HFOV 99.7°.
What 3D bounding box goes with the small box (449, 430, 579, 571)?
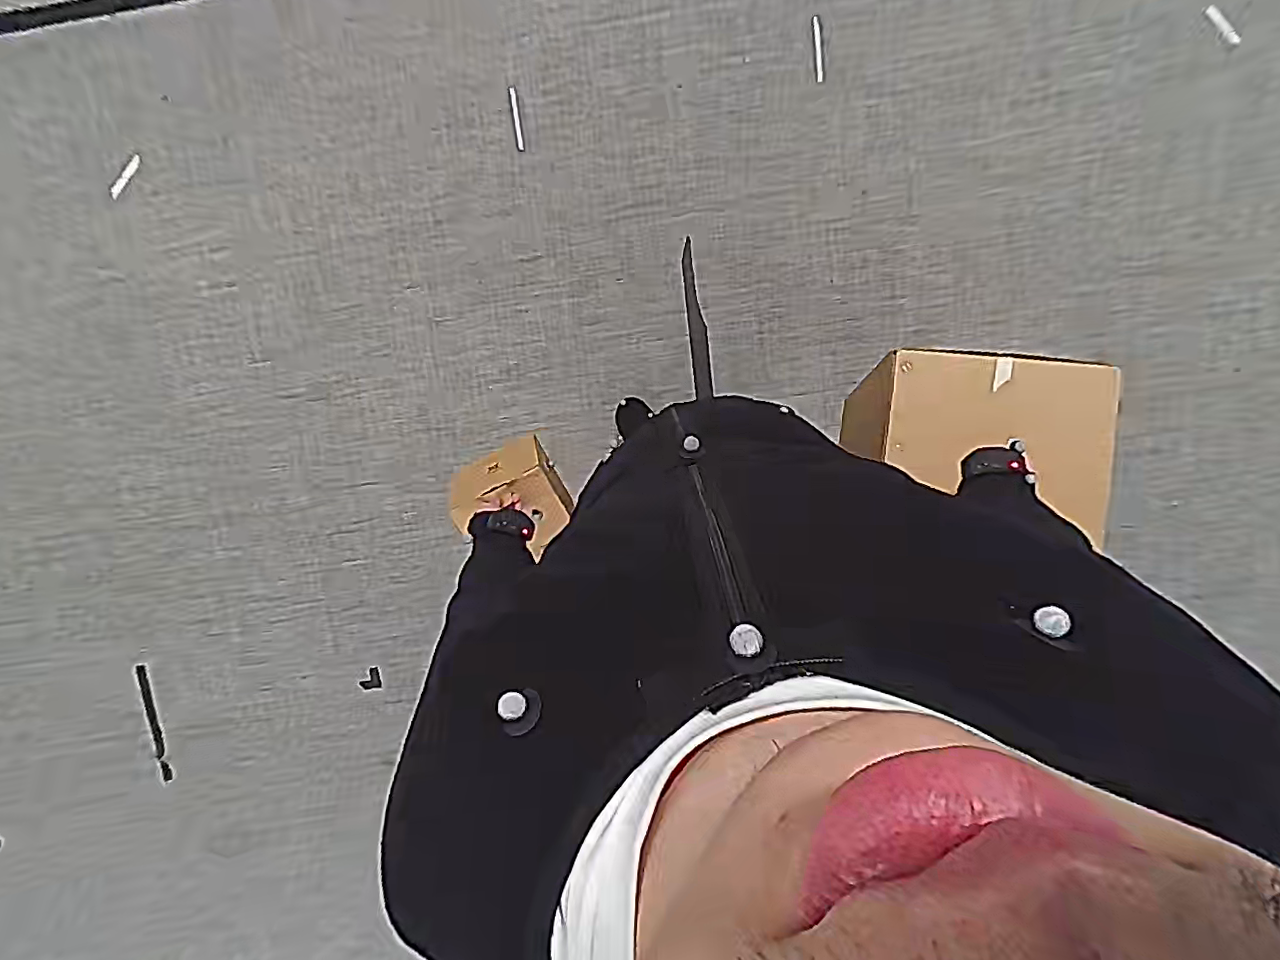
[{"bbox_3d":[-0.223,0.042,0.981,0.168,0.179,0.176,-27,118,-2],"label":"small box"}]
